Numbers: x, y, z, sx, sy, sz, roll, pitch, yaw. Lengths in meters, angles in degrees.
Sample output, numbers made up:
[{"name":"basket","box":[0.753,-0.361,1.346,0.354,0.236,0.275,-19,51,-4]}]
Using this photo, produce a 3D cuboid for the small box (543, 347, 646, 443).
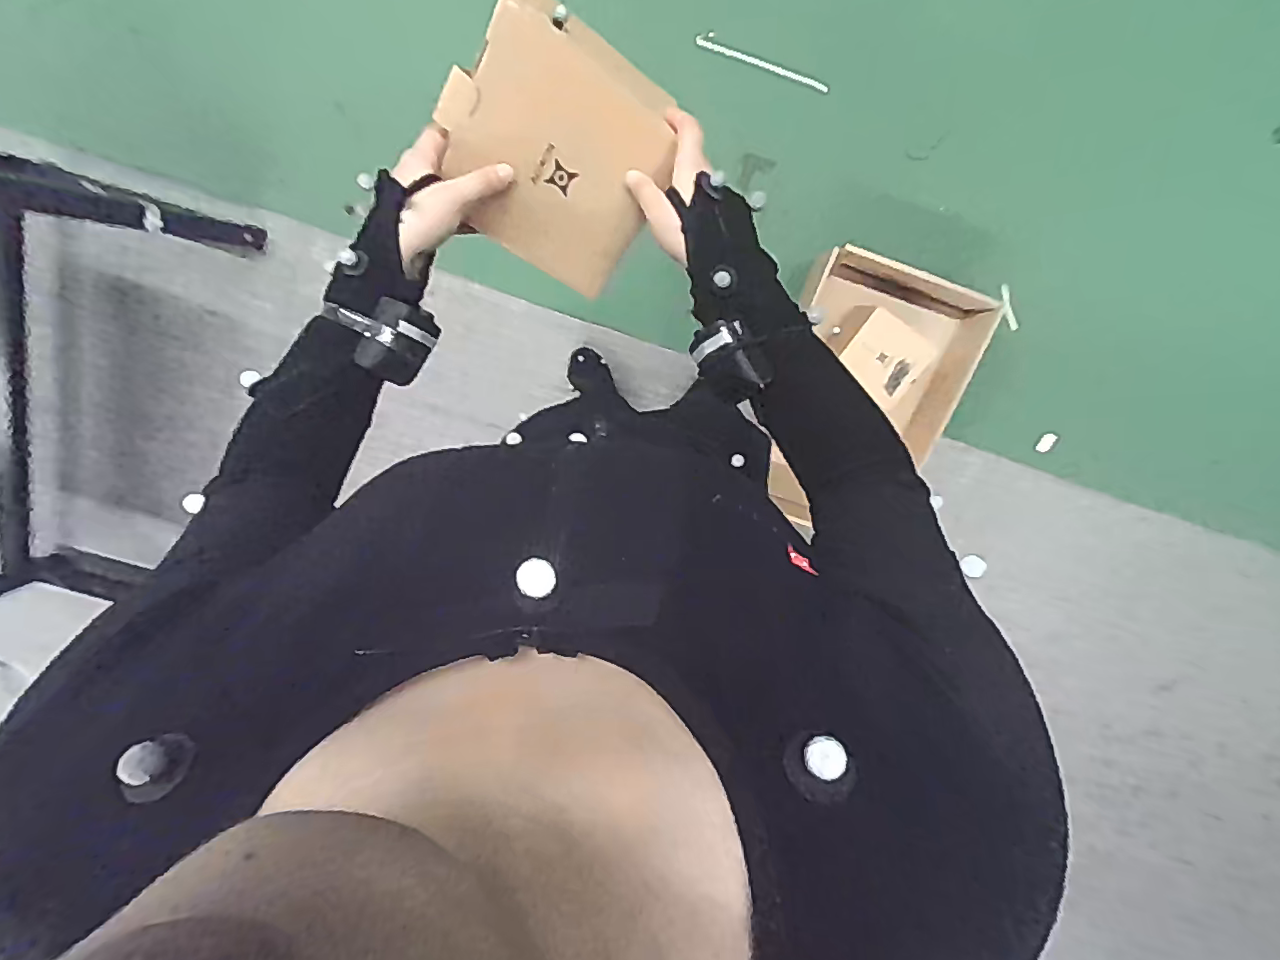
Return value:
[{"name":"small box","box":[-0.108,-0.209,1.344,0.176,0.168,0.179,26,83,-34]}]

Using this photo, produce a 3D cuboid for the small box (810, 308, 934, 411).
[{"name":"small box","box":[0.532,-0.288,1.263,0.179,0.176,0.168,33,106,-8]}]
